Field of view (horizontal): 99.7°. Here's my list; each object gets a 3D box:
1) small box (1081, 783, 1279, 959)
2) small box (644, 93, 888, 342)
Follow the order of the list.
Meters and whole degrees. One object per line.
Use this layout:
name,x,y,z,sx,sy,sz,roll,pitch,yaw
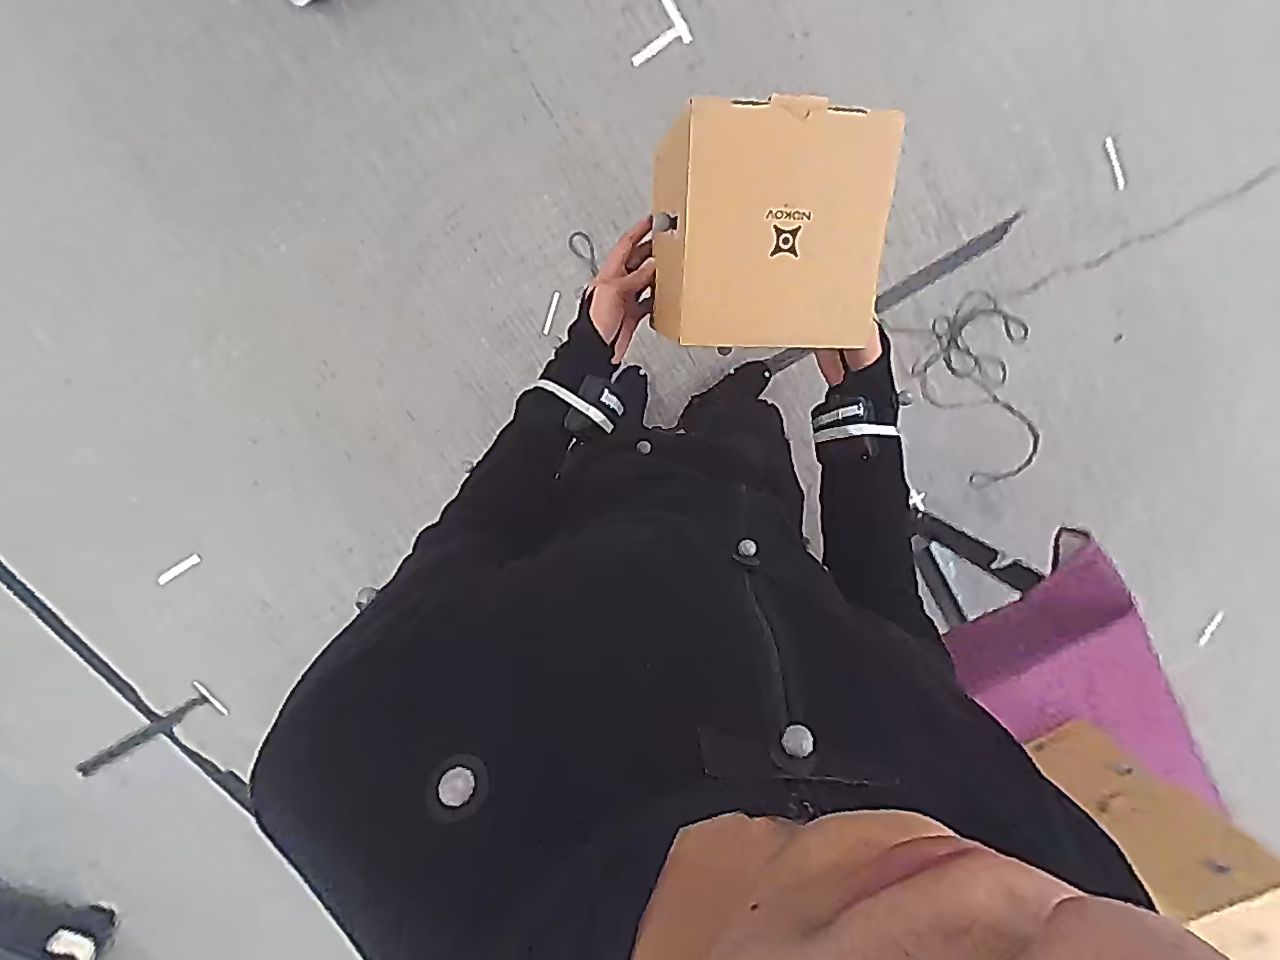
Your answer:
small box,0.853,0.620,0.847,0.179,0.176,0.168,-24,104,3
small box,0.096,-0.225,0.500,0.168,0.176,0.179,-3,109,-7
